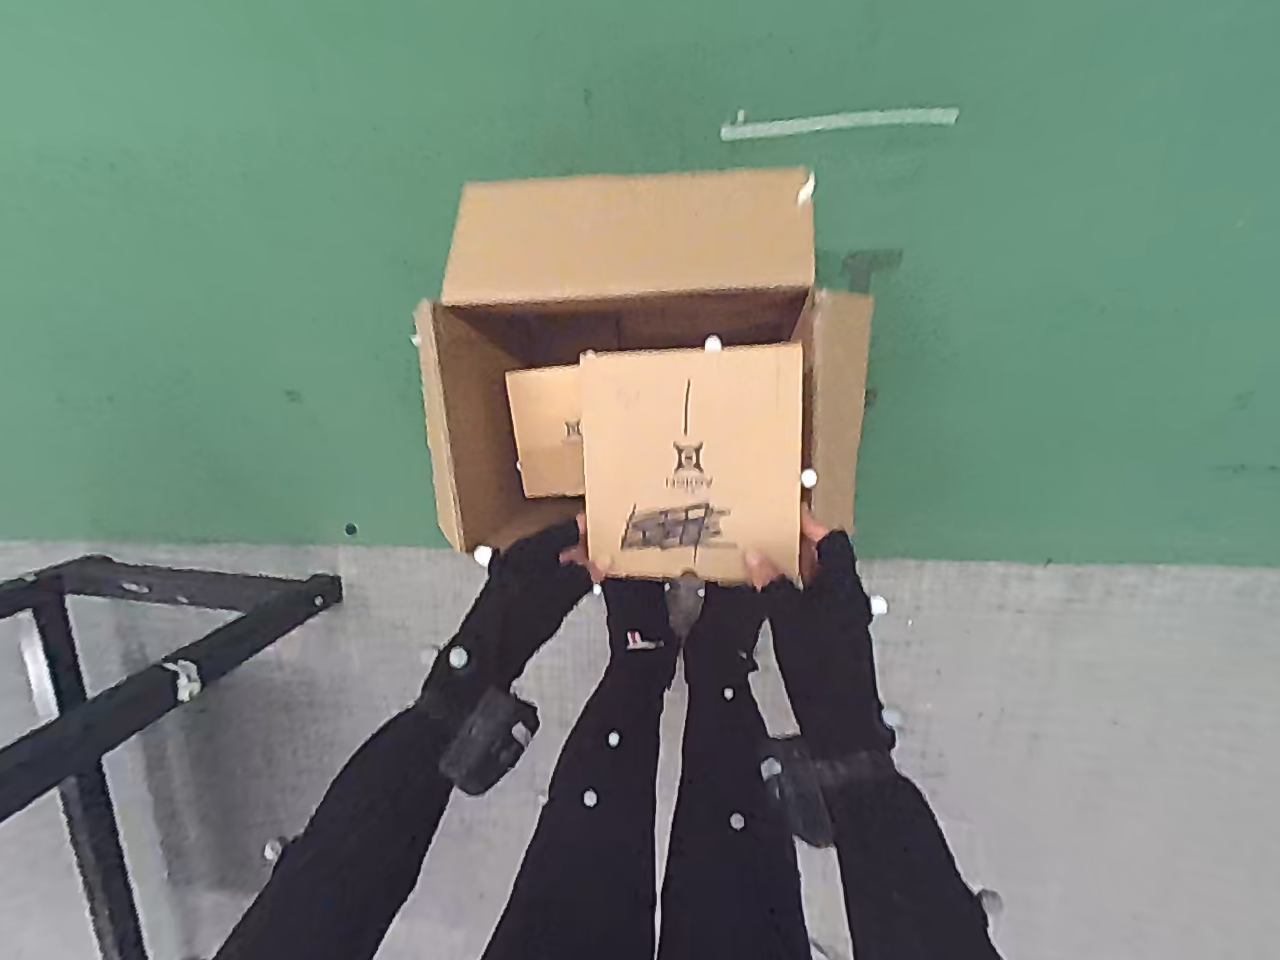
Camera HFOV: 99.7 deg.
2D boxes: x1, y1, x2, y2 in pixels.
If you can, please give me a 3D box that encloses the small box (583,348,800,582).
[{"bbox_3d":[0.056,-0.023,0.489,0.168,0.176,0.179,1,99,14],"label":"small box"}]
